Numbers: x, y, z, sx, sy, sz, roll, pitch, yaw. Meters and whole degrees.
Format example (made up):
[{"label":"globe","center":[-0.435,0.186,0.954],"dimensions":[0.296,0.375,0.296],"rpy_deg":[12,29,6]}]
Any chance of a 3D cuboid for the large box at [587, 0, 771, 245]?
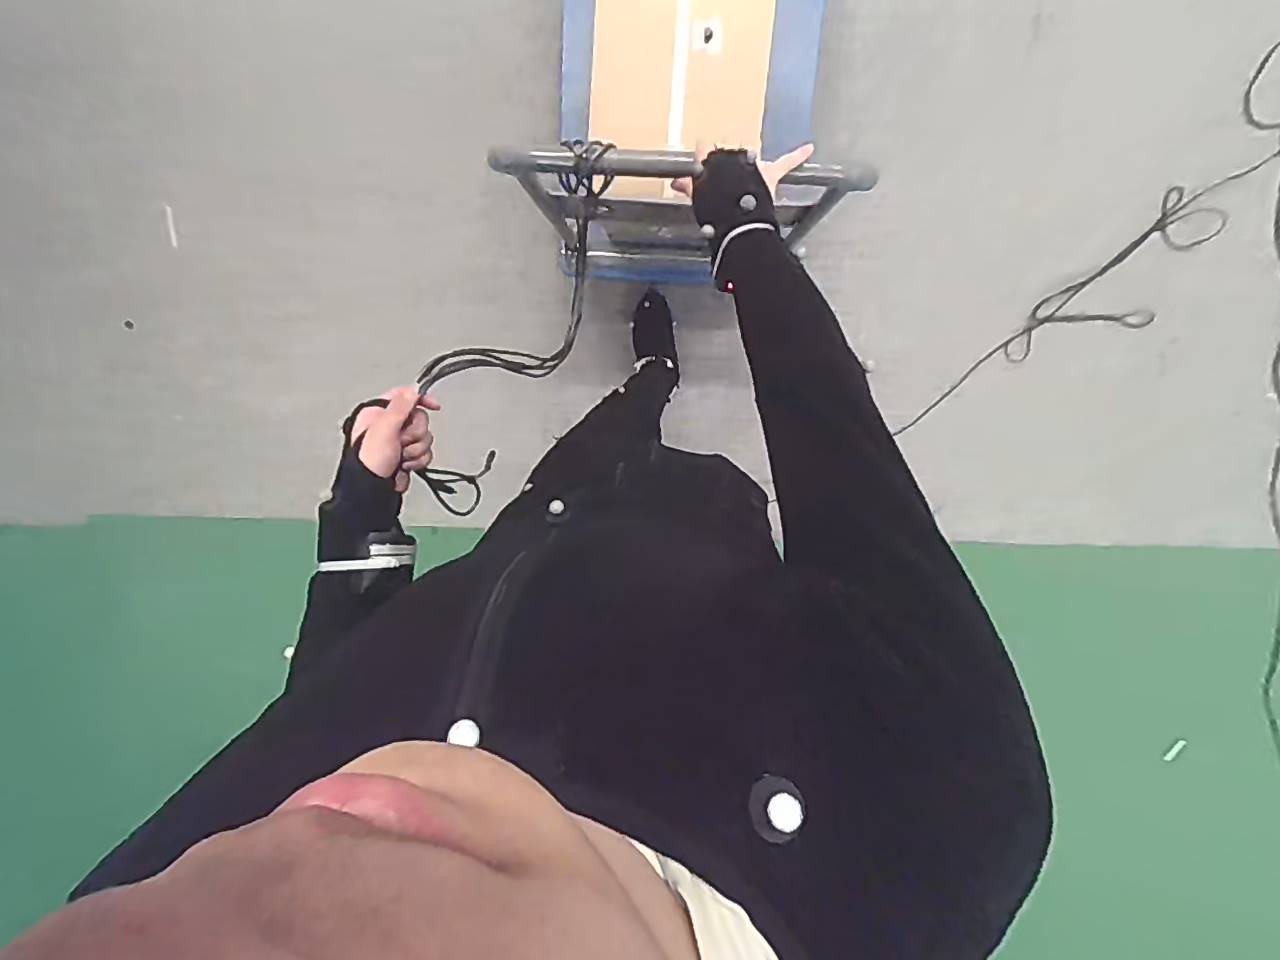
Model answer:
[{"label":"large box","center":[0.076,-0.735,1.118],"dimensions":[0.320,0.320,0.408],"rpy_deg":[5,102,2]}]
